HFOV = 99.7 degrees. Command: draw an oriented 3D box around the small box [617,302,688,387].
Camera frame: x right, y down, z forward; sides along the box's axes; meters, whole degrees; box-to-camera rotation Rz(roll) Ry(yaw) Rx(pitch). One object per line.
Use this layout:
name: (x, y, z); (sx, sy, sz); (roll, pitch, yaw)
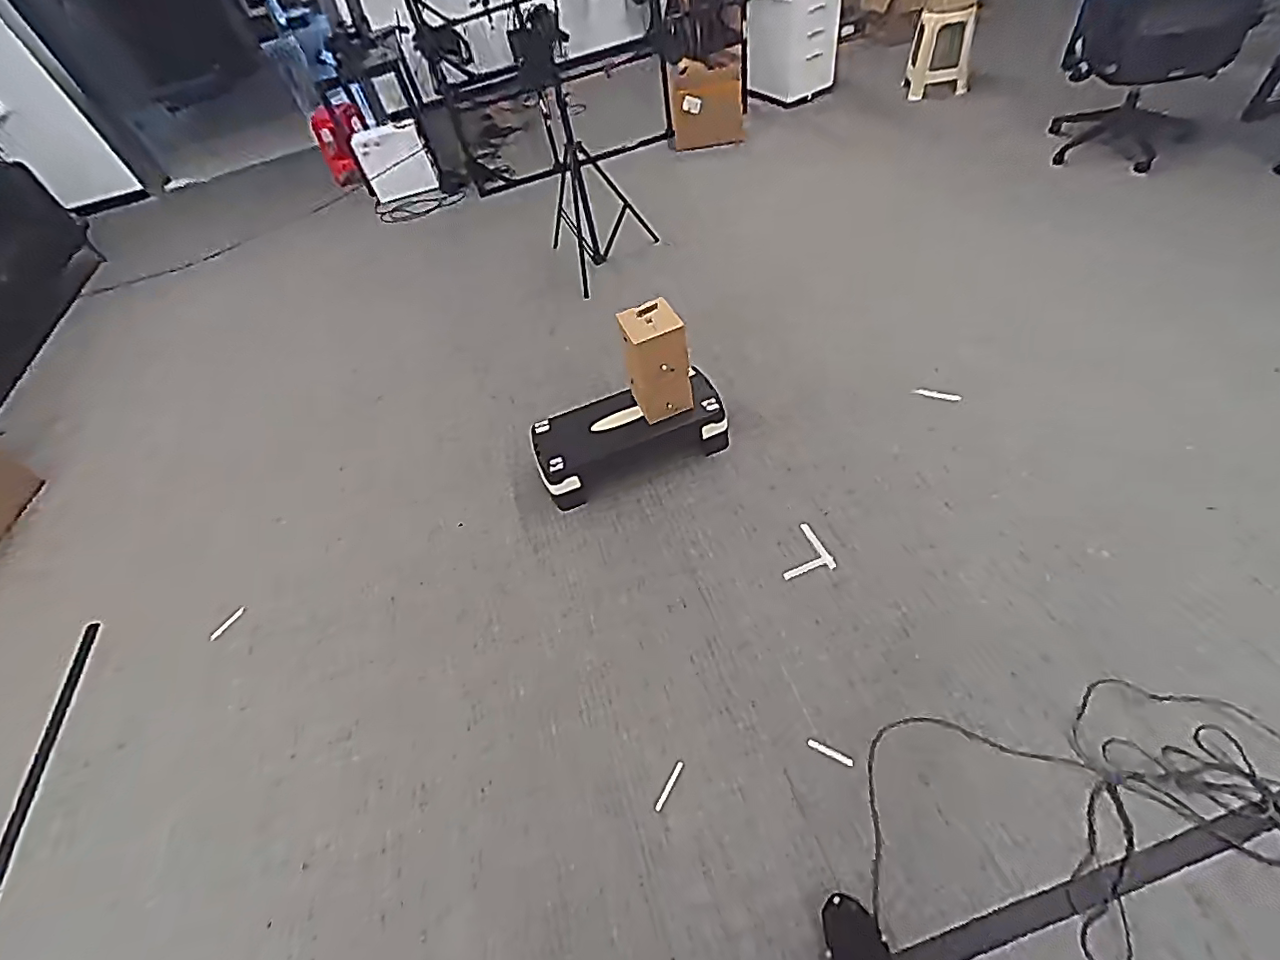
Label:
small box: (0.041, -0.428, 1.719); (0.168, 0.176, 0.179); (-23, 51, -5)

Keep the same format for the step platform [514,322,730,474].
step platform: (-0.053, -0.269, 1.779); (0.684, 0.204, 0.286); (-21, 50, -6)

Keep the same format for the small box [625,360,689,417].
small box: (0.062, -0.320, 1.841); (0.168, 0.176, 0.179); (-22, 51, -5)
